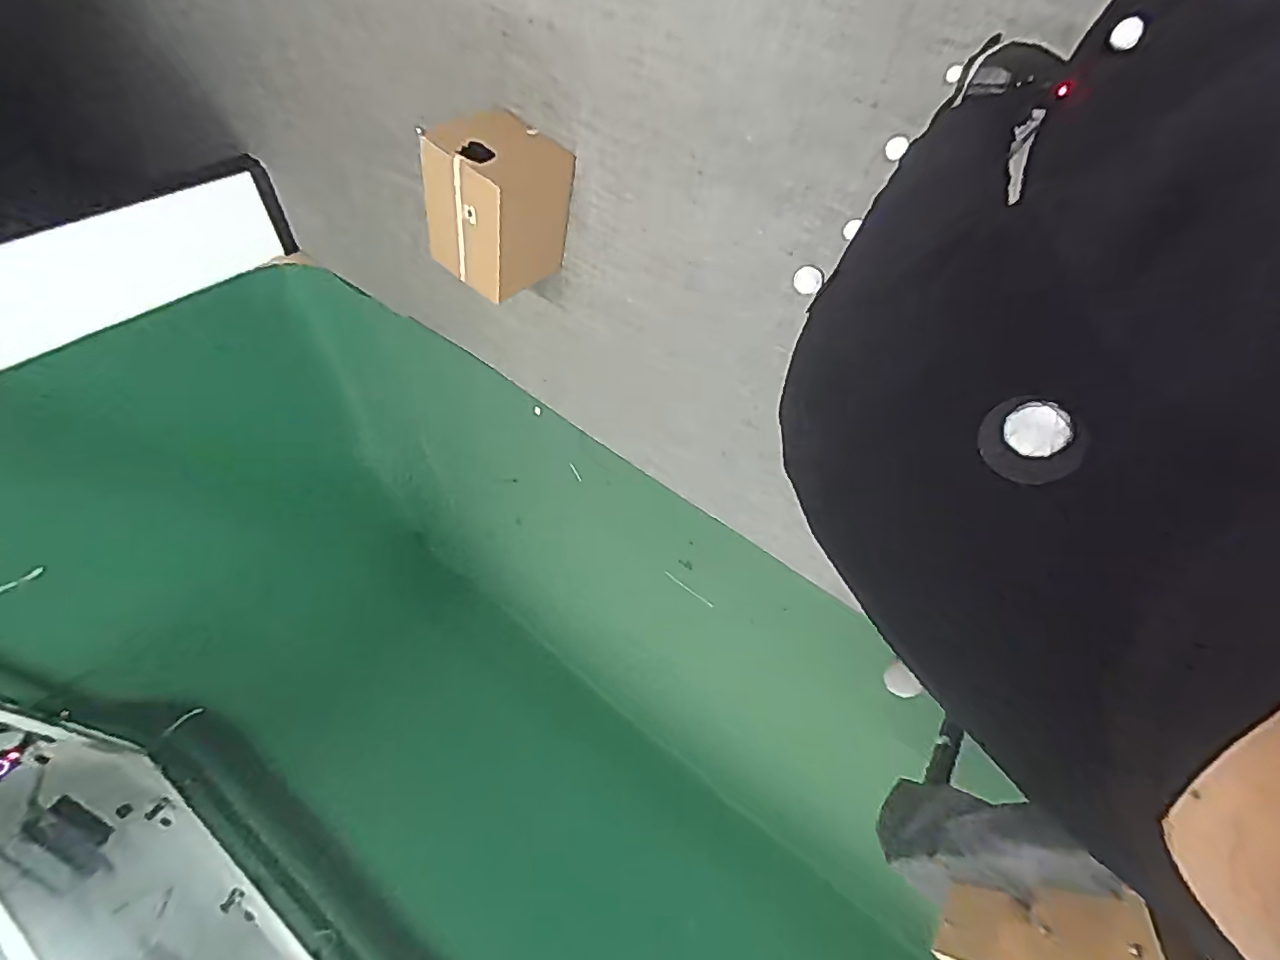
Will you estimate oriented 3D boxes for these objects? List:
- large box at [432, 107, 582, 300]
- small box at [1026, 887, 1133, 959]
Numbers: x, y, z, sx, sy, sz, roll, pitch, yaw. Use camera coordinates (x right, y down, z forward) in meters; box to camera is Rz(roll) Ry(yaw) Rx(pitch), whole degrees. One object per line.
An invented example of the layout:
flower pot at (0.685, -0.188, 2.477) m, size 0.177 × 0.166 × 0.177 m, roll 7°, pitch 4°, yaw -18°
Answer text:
large box at (-0.414, -0.866, 1.708) m, size 0.320 × 0.320 × 0.408 m, roll 38°, pitch 146°, yaw 11°
small box at (0.875, 0.906, 1.009) m, size 0.168 × 0.176 × 0.179 m, roll 39°, pitch 146°, yaw 7°
